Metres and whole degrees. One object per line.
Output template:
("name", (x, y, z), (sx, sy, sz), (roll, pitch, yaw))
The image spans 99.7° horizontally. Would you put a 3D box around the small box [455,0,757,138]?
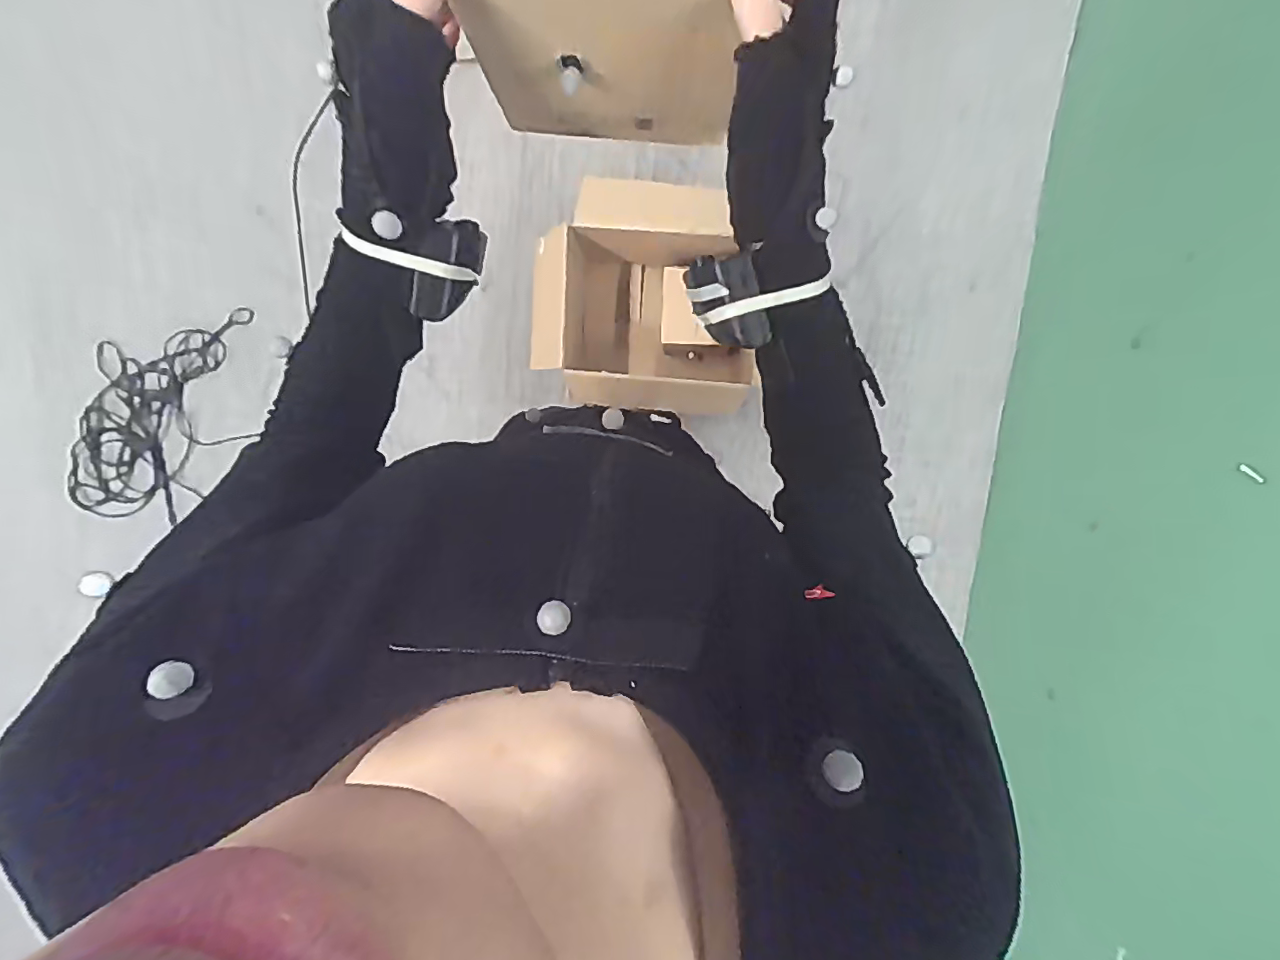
("small box", (-0.010, -0.343, 0.337), (0.168, 0.176, 0.179), (4, 99, 0))
